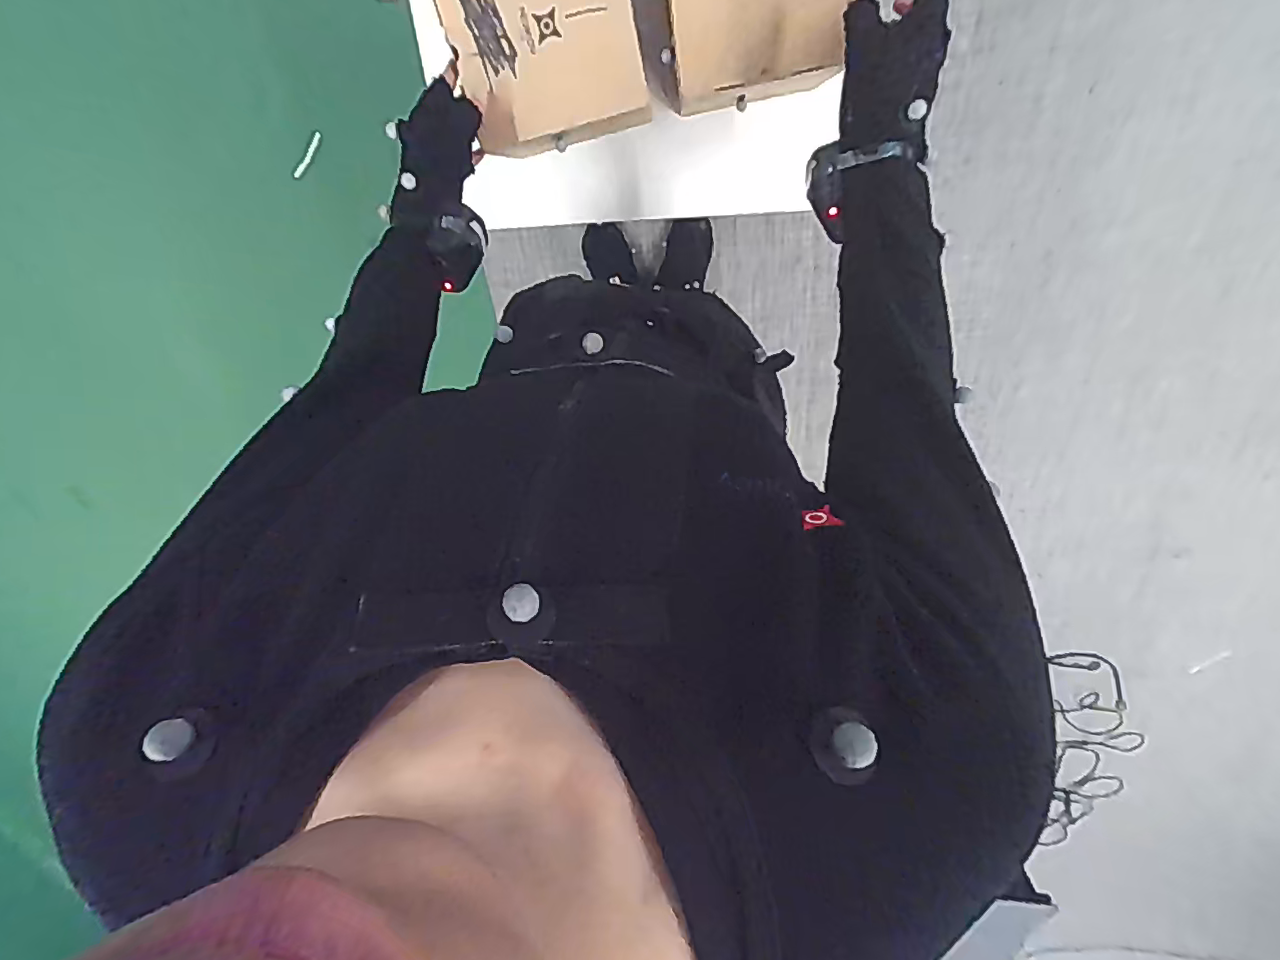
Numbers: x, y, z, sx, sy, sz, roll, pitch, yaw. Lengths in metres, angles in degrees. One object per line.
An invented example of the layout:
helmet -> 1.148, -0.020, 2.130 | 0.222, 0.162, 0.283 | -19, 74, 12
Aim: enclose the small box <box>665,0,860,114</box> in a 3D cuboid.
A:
small box -> 0.110, -0.489, 0.537 | 0.168, 0.176, 0.179 | -7, 119, 7
